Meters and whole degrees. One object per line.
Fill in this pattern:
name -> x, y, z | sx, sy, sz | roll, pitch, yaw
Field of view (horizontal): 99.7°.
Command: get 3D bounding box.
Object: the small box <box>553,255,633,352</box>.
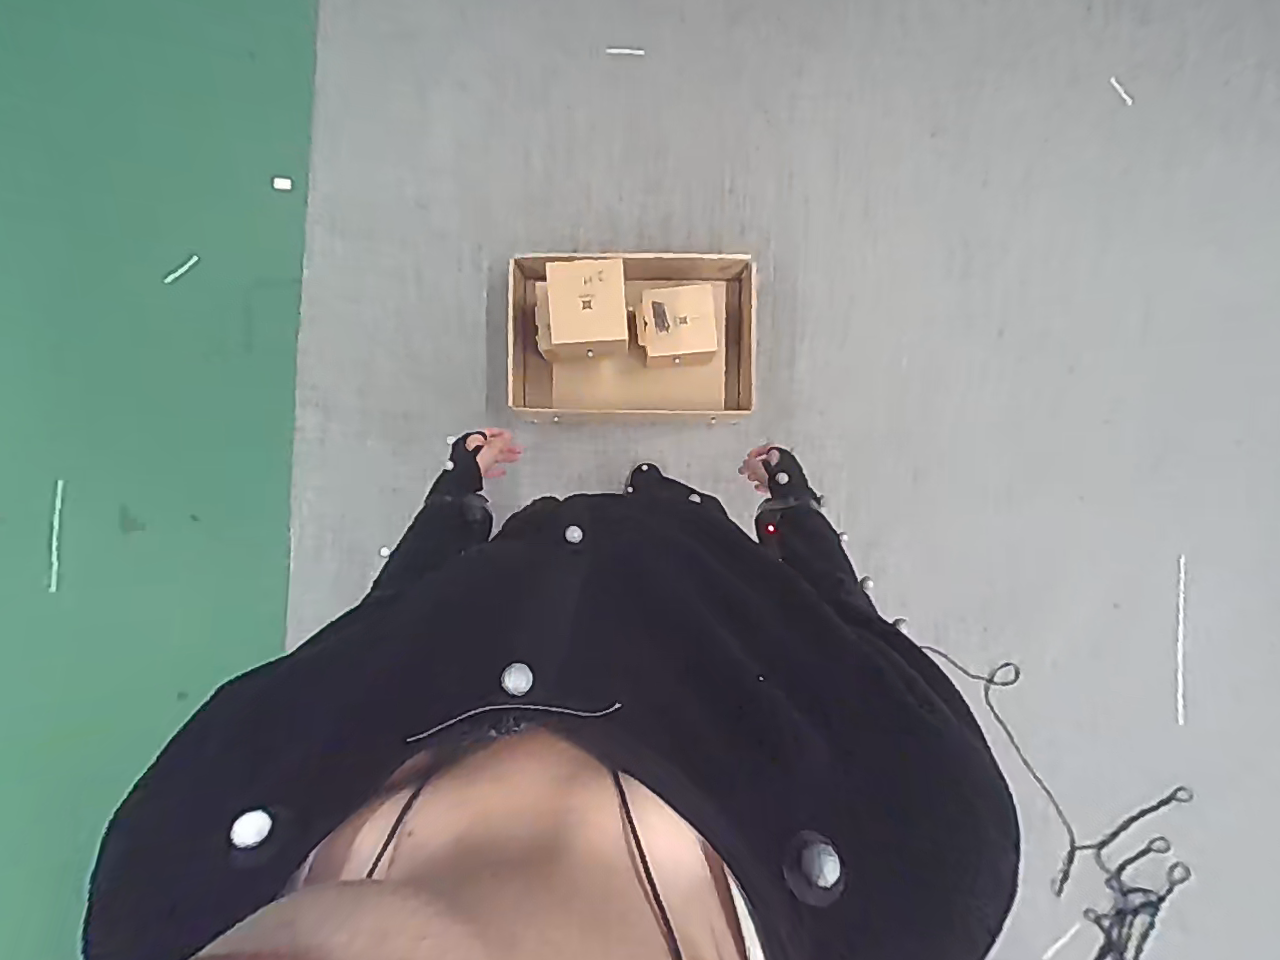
small box -> -0.101, -0.393, 1.232 | 0.168, 0.176, 0.179 | -4, 92, -2

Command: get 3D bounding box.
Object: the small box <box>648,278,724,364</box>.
small box -> 0.115, -0.401, 1.392 | 0.179, 0.176, 0.168 | -6, 91, 1

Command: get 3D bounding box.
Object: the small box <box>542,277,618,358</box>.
small box -> -0.149, -0.415, 1.395 | 0.179, 0.176, 0.168 | -2, 92, -1
